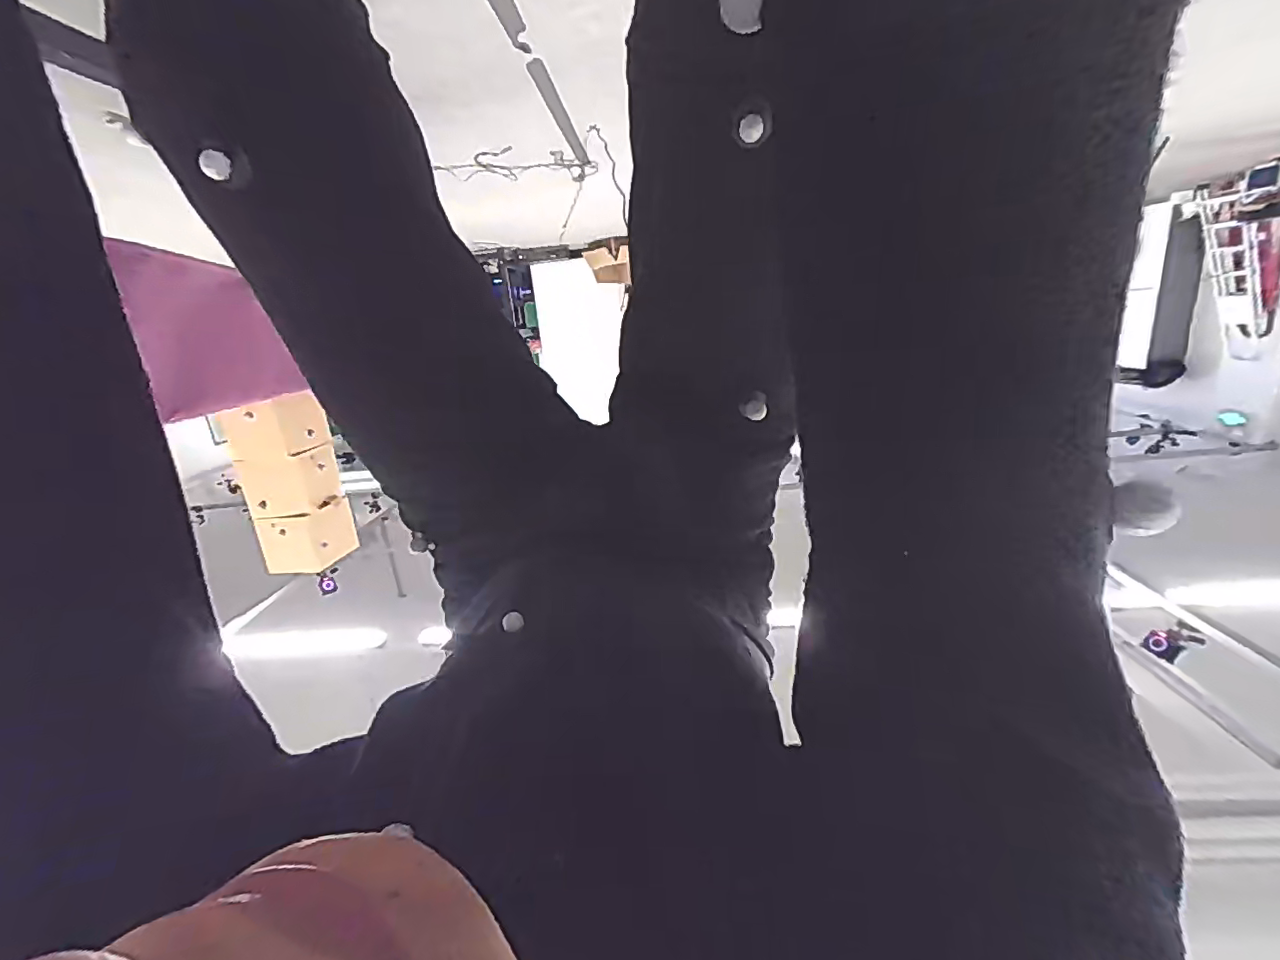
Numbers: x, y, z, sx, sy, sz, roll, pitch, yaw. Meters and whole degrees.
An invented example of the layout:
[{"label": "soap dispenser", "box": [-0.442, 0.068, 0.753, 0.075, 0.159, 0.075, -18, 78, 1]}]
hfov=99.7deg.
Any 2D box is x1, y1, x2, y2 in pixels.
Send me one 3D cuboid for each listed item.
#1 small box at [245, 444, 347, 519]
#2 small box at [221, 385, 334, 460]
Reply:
[{"label": "small box", "box": [-0.964, -0.003, 1.516, 0.179, 0.176, 0.168, -5, -162, 3]}, {"label": "small box", "box": [-0.977, -0.160, 1.466, 0.168, 0.176, 0.179, -3, -163, 9]}]
